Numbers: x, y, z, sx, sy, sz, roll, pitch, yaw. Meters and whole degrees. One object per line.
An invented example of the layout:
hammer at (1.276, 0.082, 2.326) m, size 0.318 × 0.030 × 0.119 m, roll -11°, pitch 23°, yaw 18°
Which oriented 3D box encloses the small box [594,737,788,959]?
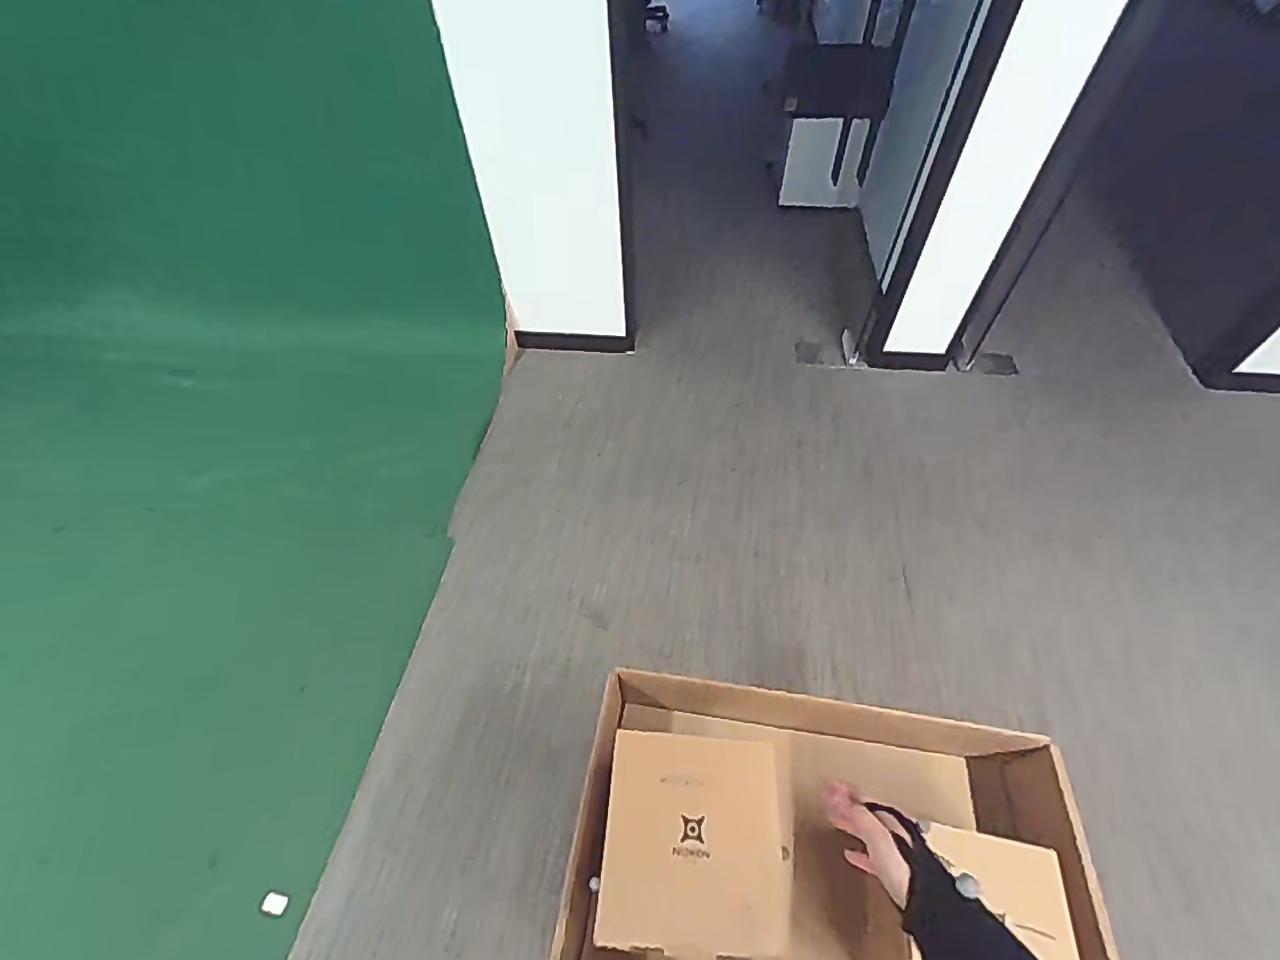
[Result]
small box at (0.053, 0.386, 0.562) m, size 0.168 × 0.176 × 0.179 m, roll 3°, pitch 51°, yaw 4°
